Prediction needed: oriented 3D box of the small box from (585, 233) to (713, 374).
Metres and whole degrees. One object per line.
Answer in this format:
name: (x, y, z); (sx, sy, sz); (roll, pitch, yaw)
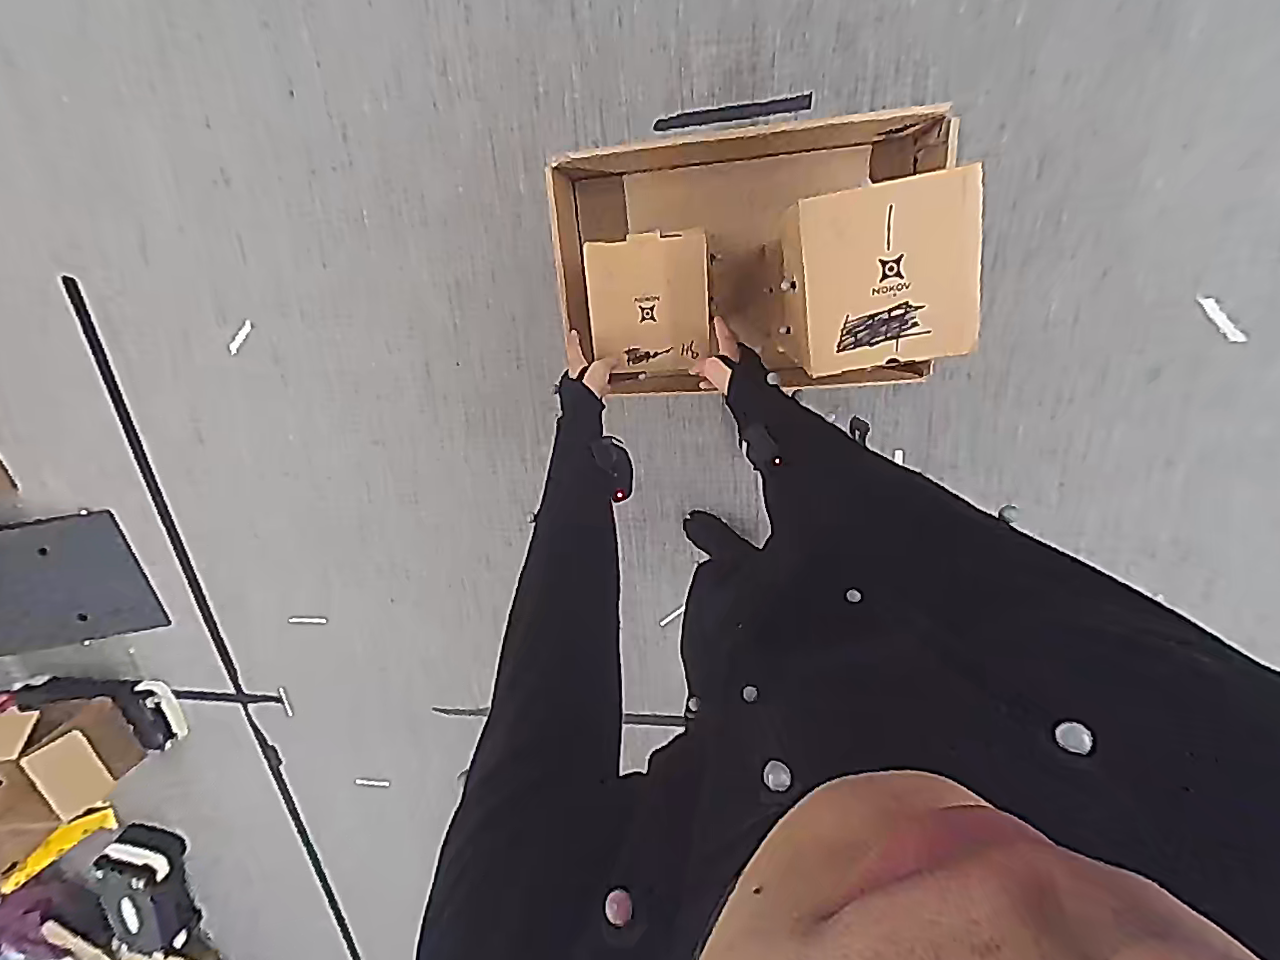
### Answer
small box: (0.022, -0.259, 0.807); (0.168, 0.176, 0.179); (-1, 109, 10)

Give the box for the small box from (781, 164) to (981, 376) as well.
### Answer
small box: (0.256, -0.227, 0.607); (0.168, 0.176, 0.179); (-7, 108, 11)
